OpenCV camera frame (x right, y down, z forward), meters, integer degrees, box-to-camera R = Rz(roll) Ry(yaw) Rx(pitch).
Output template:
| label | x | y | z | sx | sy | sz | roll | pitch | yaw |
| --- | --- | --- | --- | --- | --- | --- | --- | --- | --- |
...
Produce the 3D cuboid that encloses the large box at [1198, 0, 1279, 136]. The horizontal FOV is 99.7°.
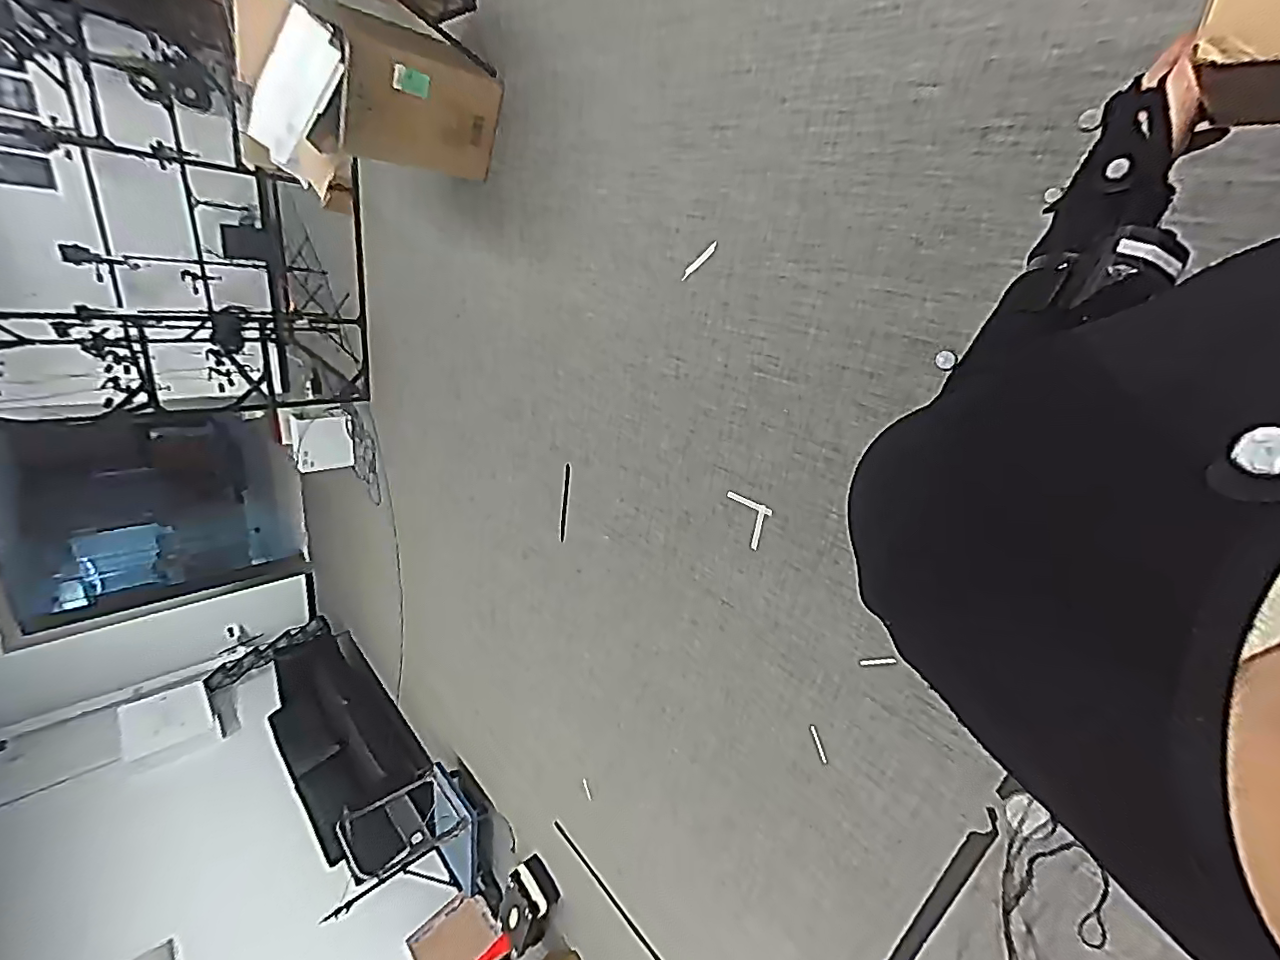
| label | x | y | z | sx | sy | sz | roll | pitch | yaw |
| --- | --- | --- | --- | --- | --- | --- | --- | --- | --- |
| large box | 0.476 | -0.296 | 0.137 | 0.408 | 0.320 | 0.320 | 23 | 126 | 38 |
